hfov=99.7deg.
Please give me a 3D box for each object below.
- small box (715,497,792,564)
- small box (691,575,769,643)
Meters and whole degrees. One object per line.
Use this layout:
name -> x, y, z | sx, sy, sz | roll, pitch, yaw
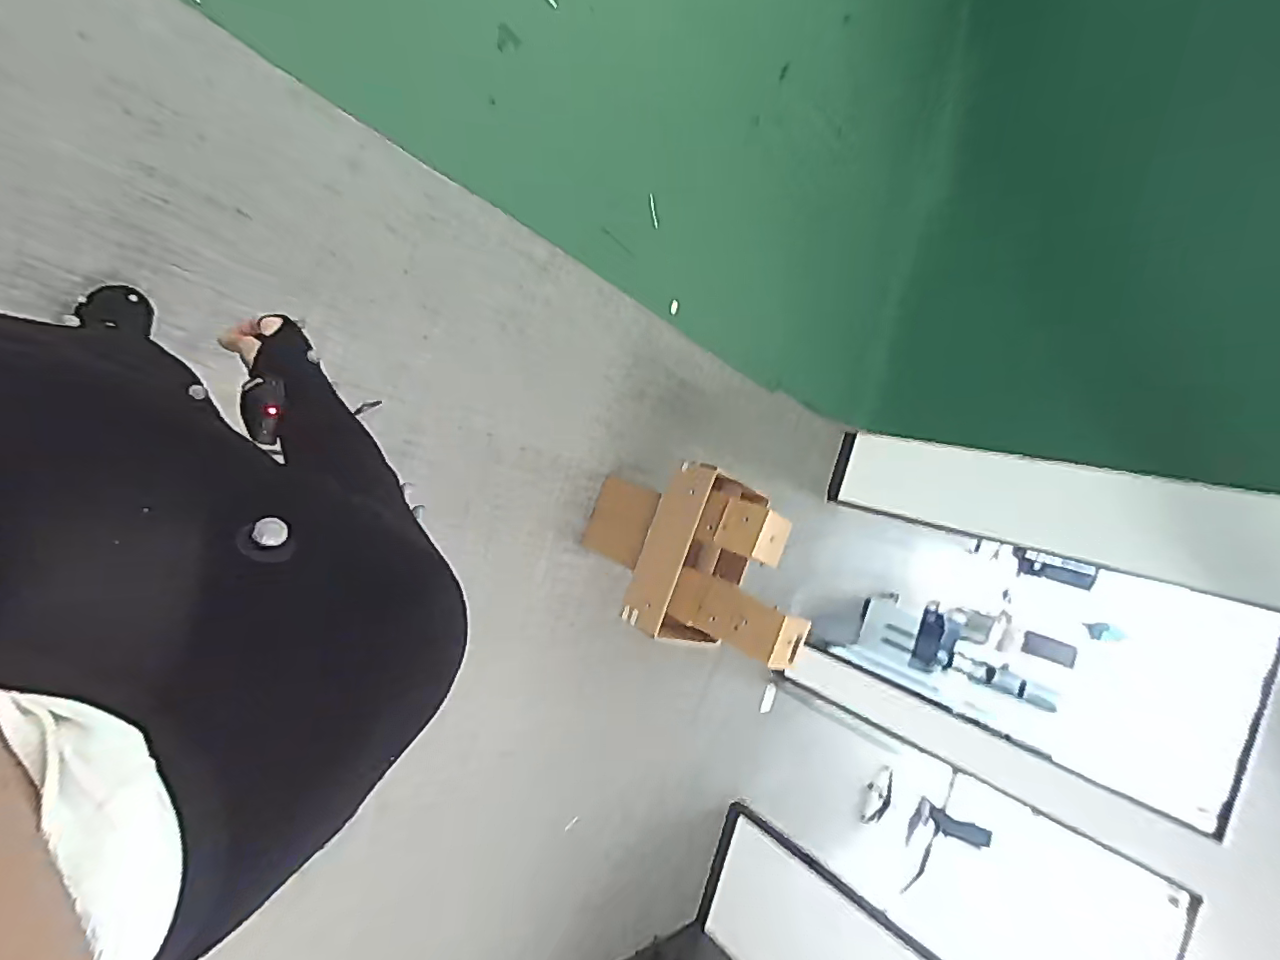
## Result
small box -> 0.383, 0.169, 1.838 | 0.179, 0.176, 0.168 | 28, 82, -45
small box -> 0.302, 0.436, 1.841 | 0.179, 0.176, 0.168 | 24, 86, -45
